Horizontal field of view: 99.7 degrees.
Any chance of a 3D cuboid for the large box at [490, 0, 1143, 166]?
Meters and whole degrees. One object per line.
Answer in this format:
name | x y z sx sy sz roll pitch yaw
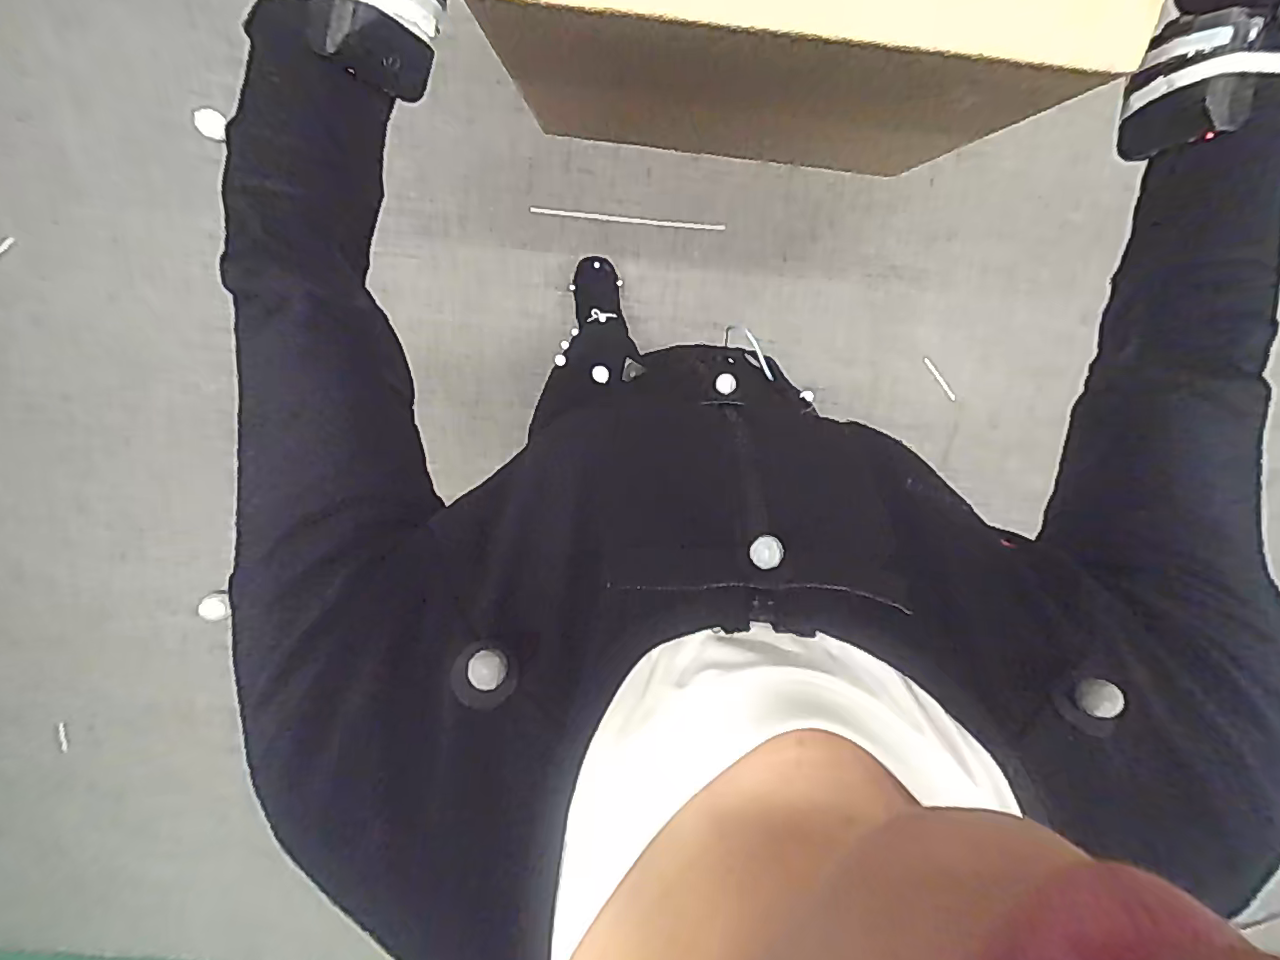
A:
large box | 0.108 -0.463 0.415 0.408 0.320 0.320 5 109 -3
